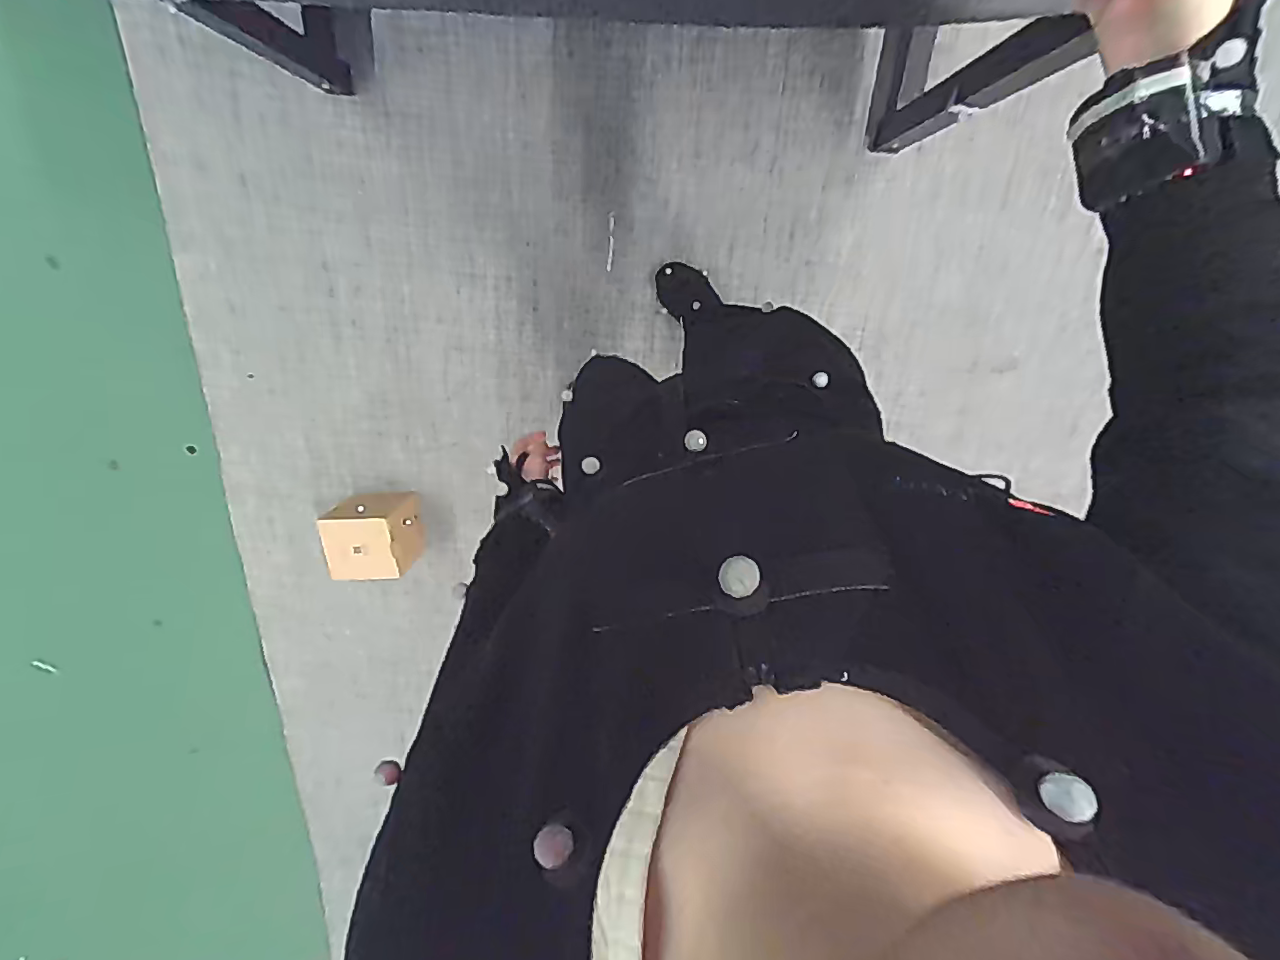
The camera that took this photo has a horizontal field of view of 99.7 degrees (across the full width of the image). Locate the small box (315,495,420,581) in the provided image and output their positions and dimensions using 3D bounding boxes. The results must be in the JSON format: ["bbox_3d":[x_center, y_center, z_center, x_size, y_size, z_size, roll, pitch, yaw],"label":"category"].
[{"bbox_3d":[-0.679,0.142,1.376,0.179,0.176,0.168,-2,109,3],"label":"small box"}]
